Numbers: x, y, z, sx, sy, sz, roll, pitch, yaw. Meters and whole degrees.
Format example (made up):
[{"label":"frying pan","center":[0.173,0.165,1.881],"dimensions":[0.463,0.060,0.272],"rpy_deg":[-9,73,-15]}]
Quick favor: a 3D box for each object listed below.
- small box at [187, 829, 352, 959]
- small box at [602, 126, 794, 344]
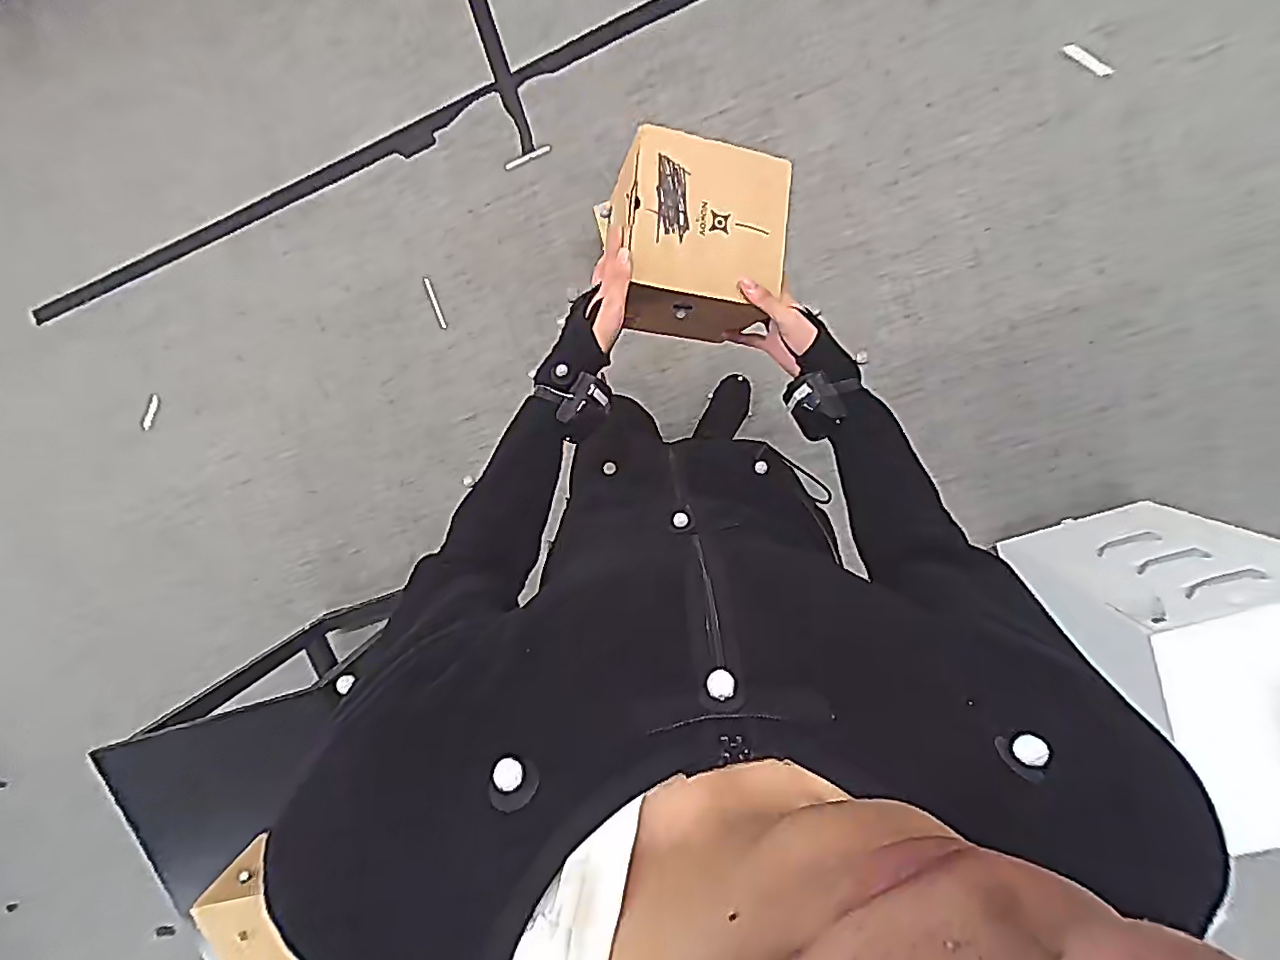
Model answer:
[{"label":"small box","center":[-0.720,0.837,1.070],"dimensions":[0.179,0.176,0.168],"rpy_deg":[-18,98,10]},{"label":"small box","center":[0.057,-0.269,0.641],"dimensions":[0.179,0.176,0.168],"rpy_deg":[5,89,-15]}]
